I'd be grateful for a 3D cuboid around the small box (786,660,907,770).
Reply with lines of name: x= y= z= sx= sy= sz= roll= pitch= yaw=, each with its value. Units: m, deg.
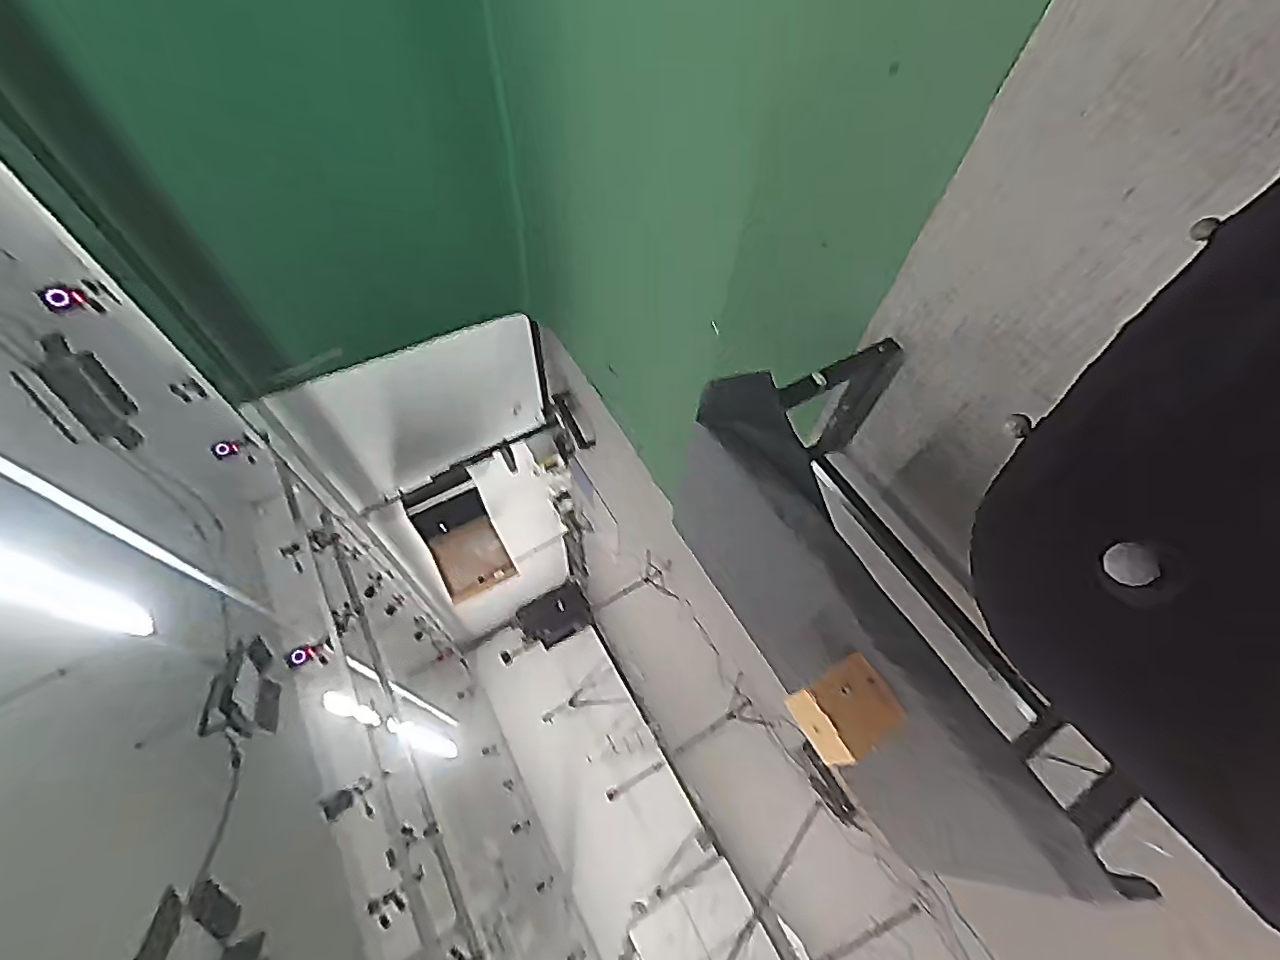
small box: x=0.471 y=0.534 z=1.234 sx=0.168 sy=0.176 sz=0.179 roll=57 pitch=162 yaw=25
